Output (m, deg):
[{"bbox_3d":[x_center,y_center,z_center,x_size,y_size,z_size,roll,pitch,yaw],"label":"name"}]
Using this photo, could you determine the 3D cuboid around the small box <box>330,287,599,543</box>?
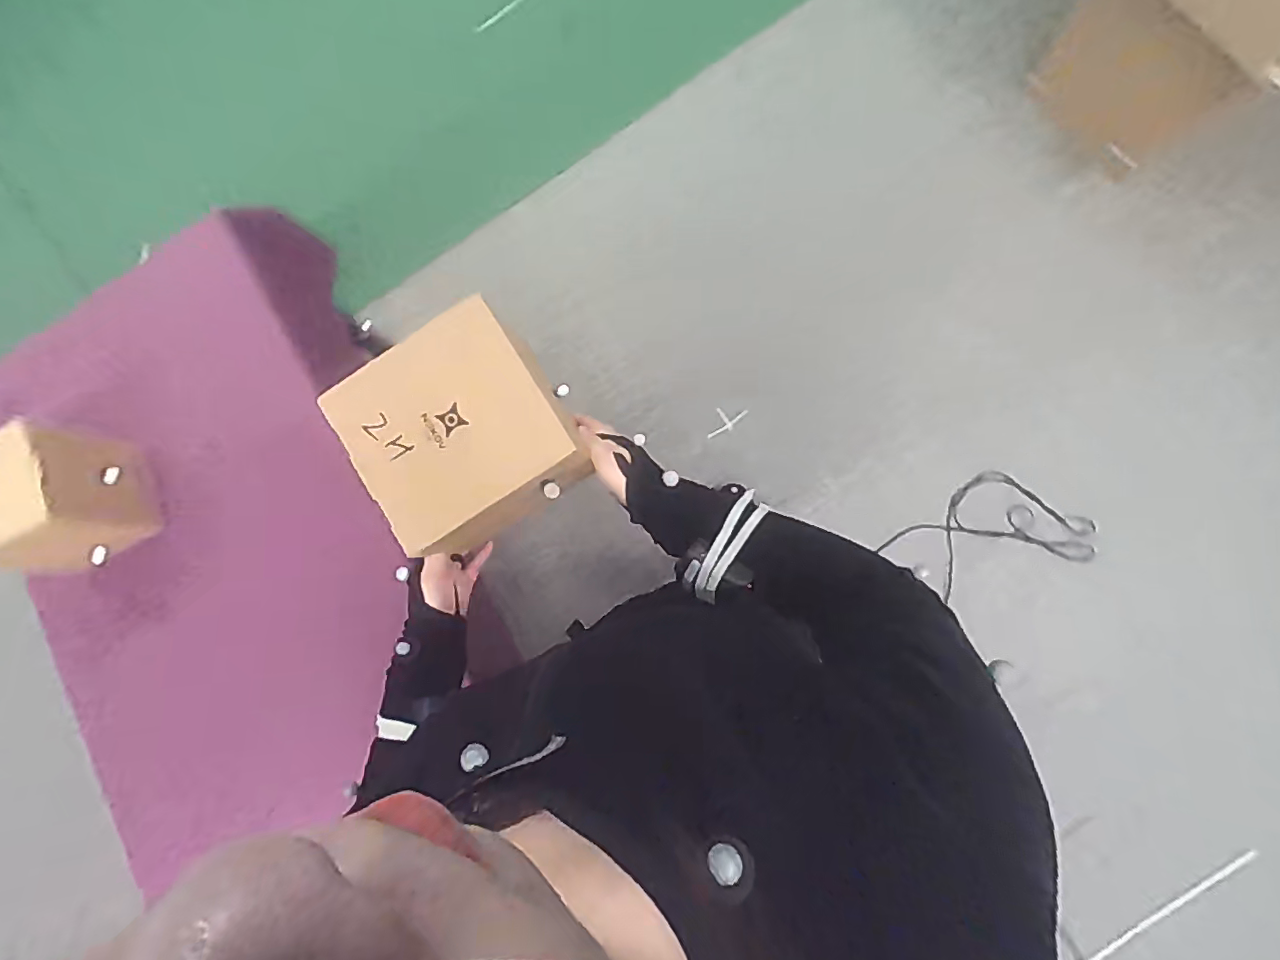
[{"bbox_3d":[-0.155,-0.054,0.545,0.179,0.176,0.168,-31,84,4],"label":"small box"}]

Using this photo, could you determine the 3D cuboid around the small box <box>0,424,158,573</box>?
[{"bbox_3d":[-0.916,0.037,0.854,0.179,0.176,0.168,-26,78,2],"label":"small box"}]
